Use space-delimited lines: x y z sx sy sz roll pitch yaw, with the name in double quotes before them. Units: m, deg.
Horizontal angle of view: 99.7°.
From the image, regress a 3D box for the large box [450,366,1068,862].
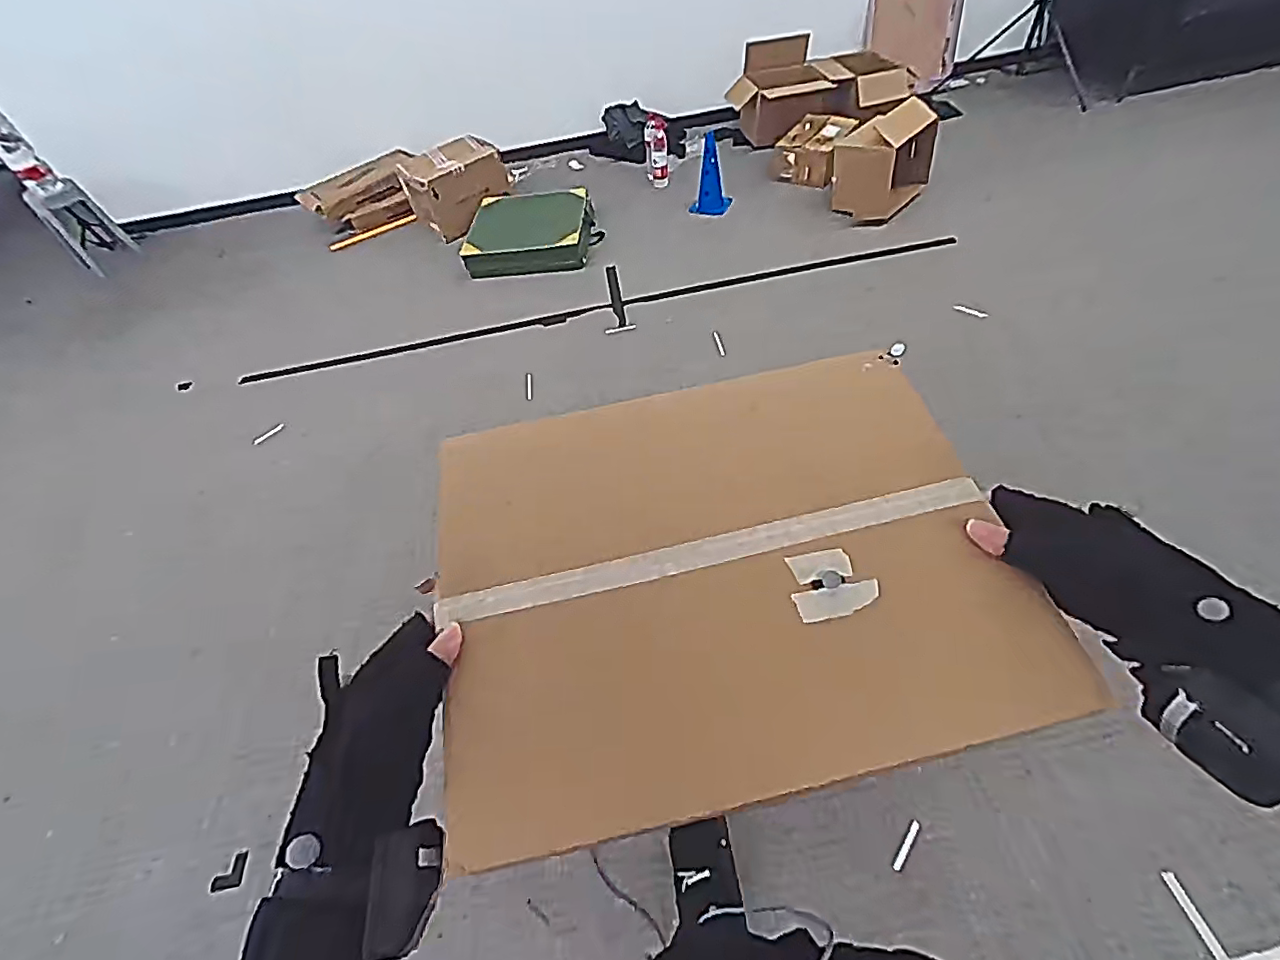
"large box" 0.064 0.140 0.542 0.408 0.320 0.320 -13 59 -3
